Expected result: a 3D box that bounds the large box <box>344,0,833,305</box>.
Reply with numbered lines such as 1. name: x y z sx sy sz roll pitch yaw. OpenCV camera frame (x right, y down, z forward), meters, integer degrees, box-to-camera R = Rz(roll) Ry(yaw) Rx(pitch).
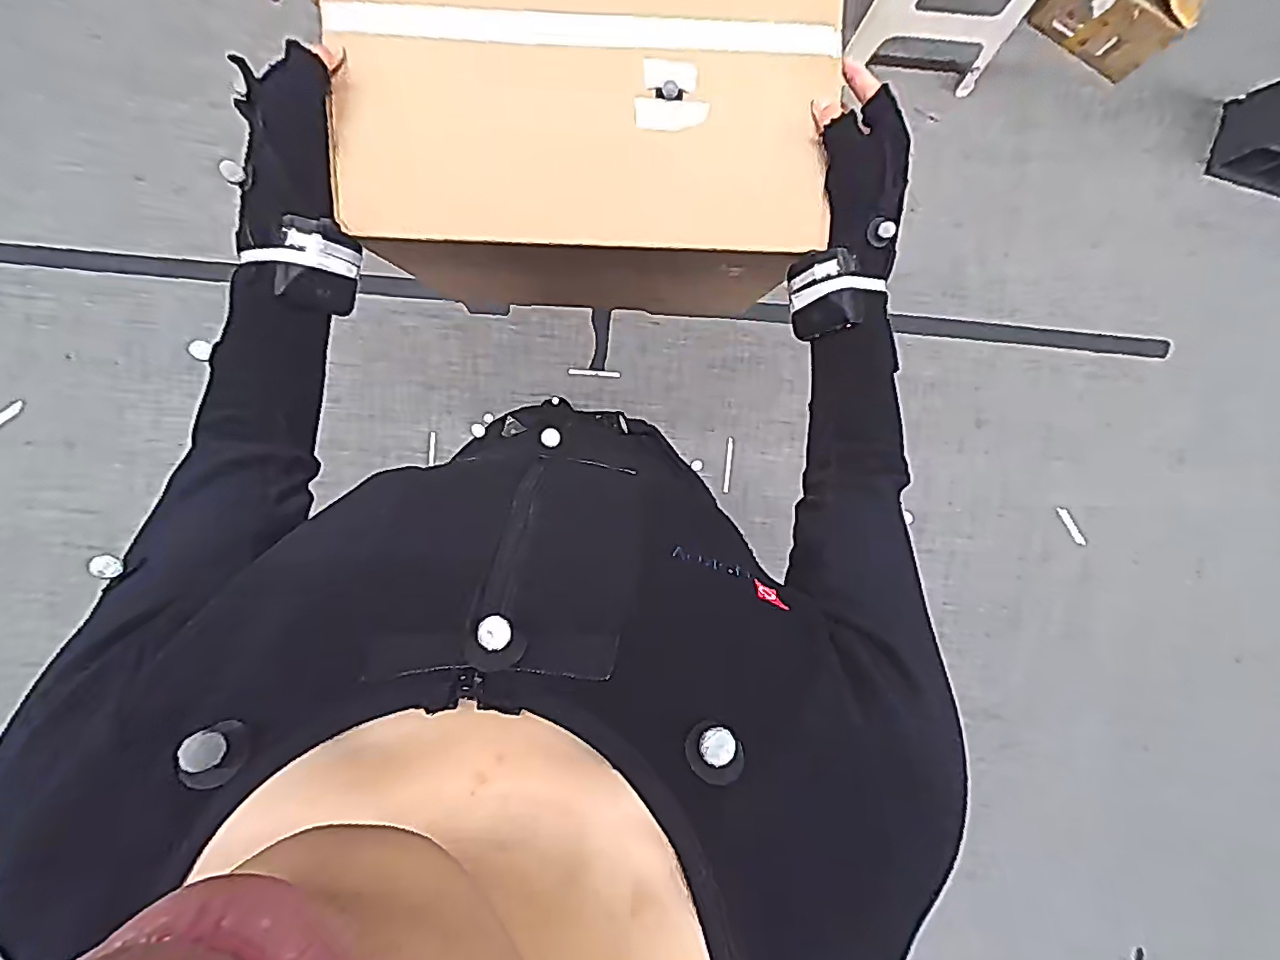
1. large box: -0.048 -0.377 0.590 0.408 0.320 0.320 1 99 -3
